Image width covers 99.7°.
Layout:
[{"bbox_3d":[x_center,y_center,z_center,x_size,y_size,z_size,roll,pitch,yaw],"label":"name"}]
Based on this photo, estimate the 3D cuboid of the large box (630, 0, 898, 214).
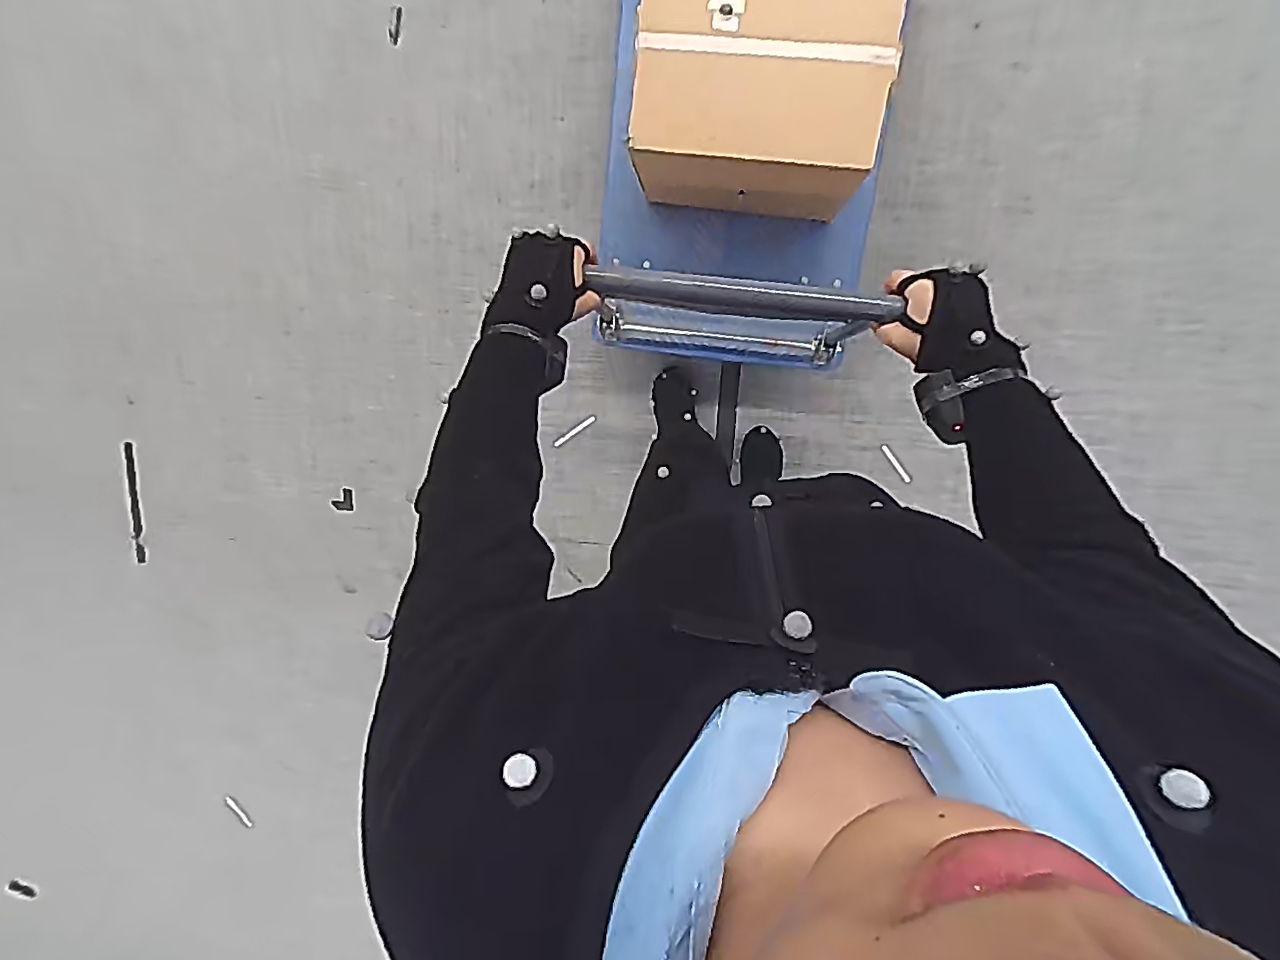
[{"bbox_3d":[0.216,-0.713,1.013,0.408,0.320,0.320,8,101,7],"label":"large box"}]
